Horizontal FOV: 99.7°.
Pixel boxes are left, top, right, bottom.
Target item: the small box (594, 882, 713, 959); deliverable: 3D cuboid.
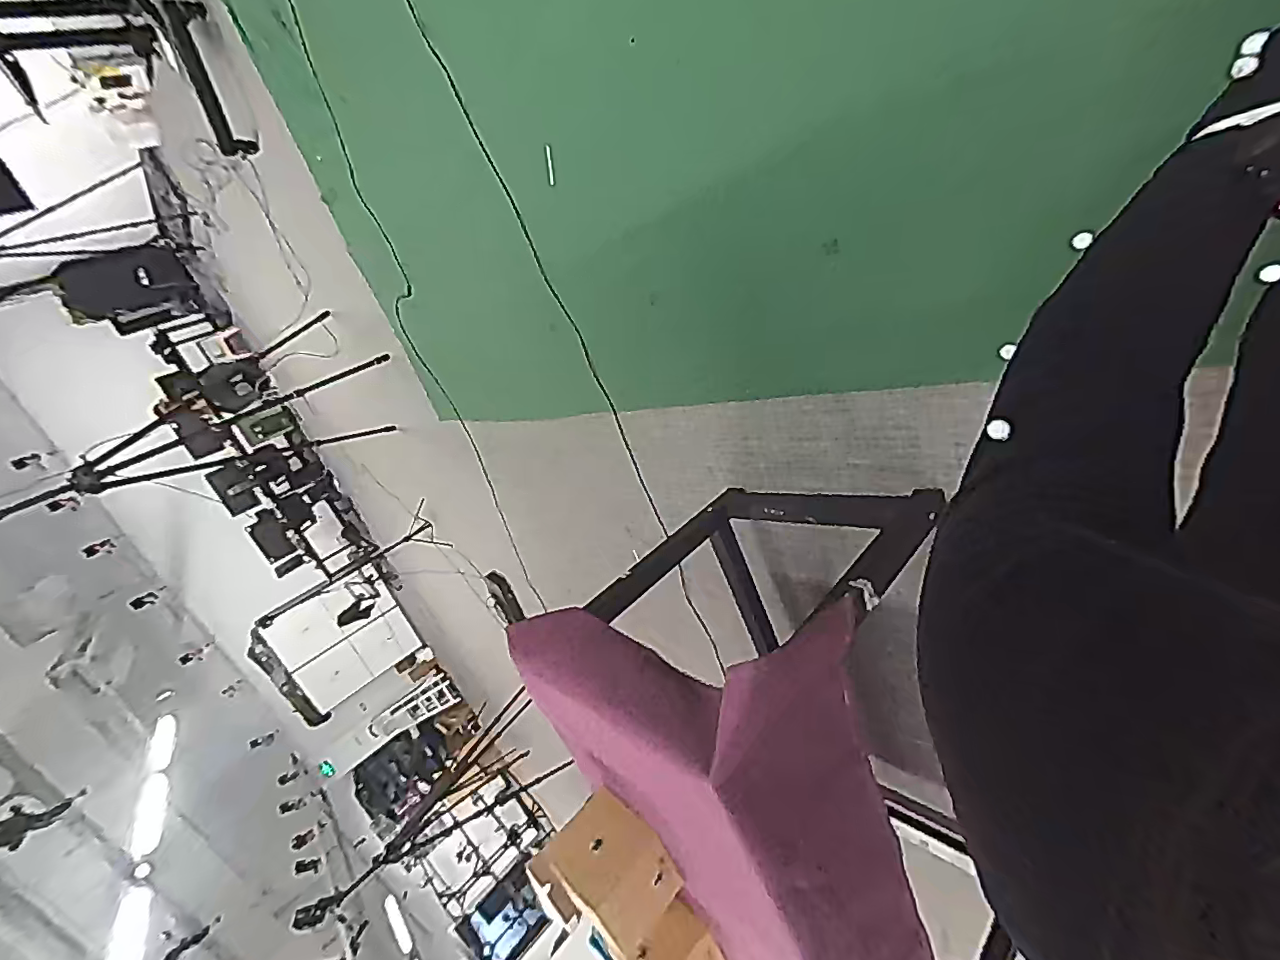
[{"bbox_3d":[0.035,1.023,1.170,0.179,0.176,0.168,10,126,48],"label":"small box"}]
